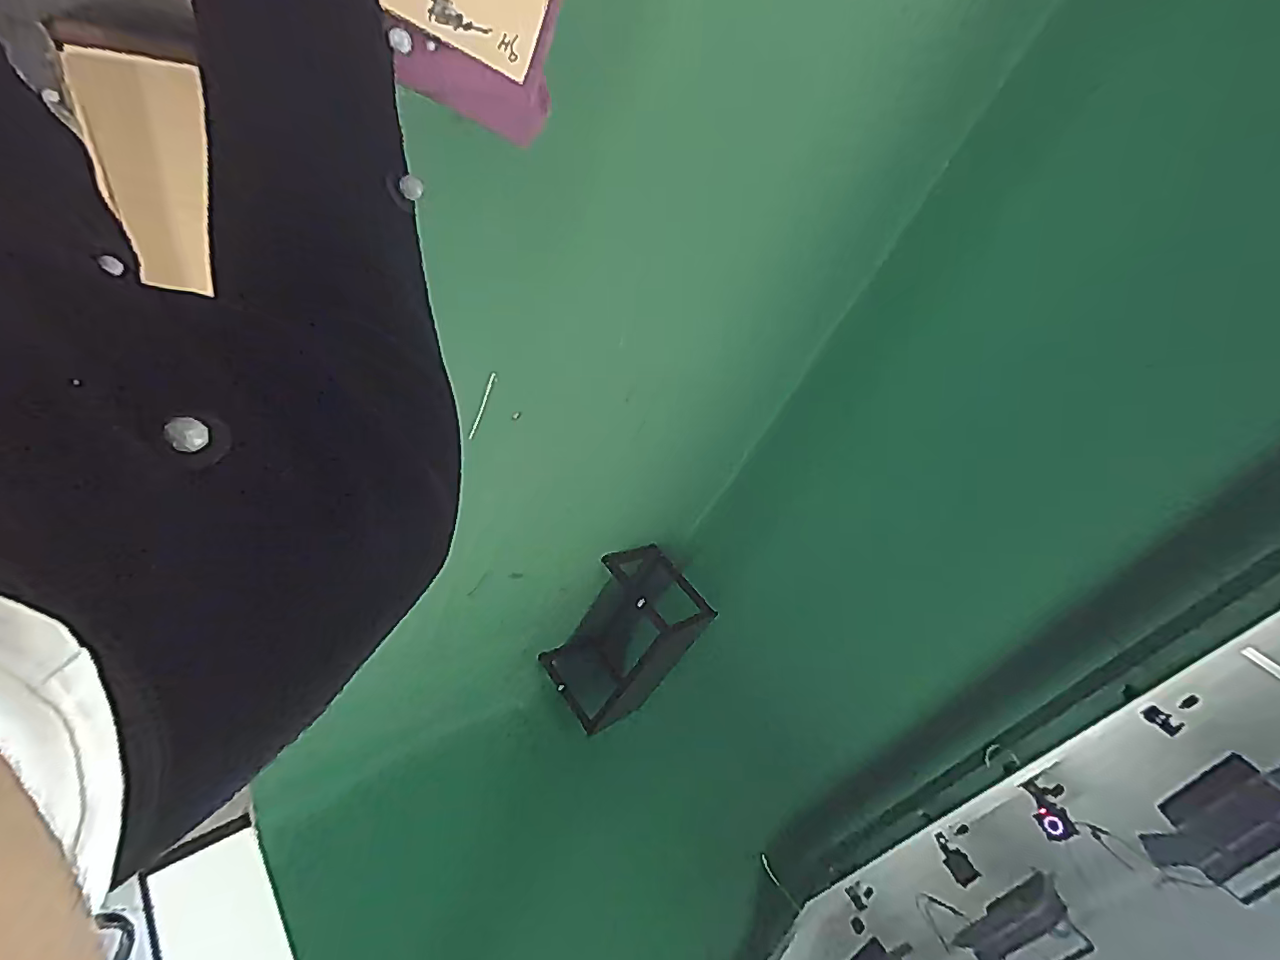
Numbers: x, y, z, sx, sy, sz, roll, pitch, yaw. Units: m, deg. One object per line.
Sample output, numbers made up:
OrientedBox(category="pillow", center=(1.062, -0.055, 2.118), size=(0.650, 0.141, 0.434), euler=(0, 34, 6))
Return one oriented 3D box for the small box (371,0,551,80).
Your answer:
OrientedBox(category="small box", center=(-0.197, -0.563, 0.553), size=(0.168, 0.176, 0.179), euler=(-5, 132, -47))
